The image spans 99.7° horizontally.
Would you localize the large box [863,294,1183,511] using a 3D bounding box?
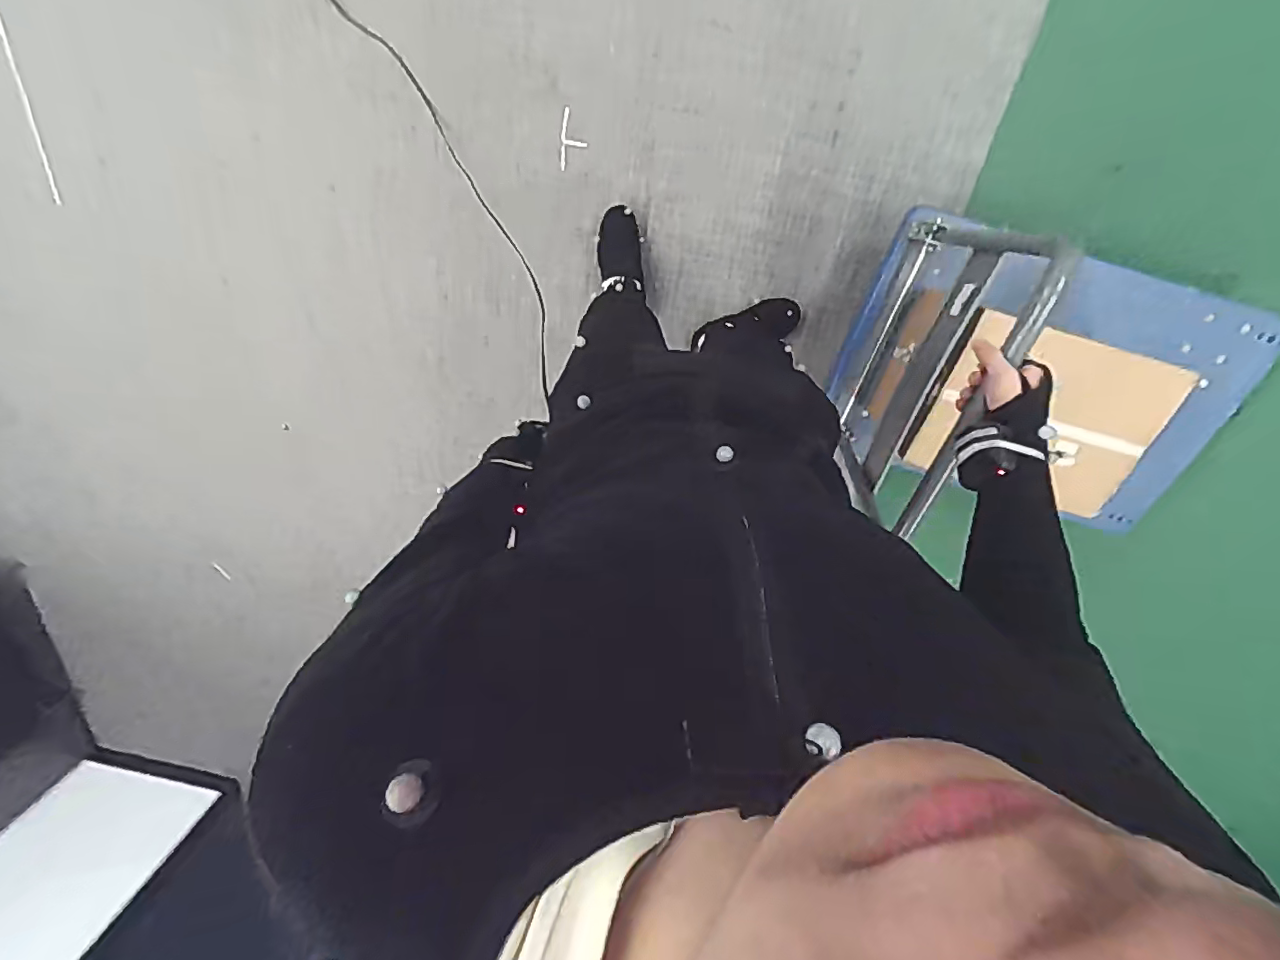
[{"bbox_3d":[0.768,-0.183,1.170,0.408,0.320,0.320,17,117,0],"label":"large box"}]
